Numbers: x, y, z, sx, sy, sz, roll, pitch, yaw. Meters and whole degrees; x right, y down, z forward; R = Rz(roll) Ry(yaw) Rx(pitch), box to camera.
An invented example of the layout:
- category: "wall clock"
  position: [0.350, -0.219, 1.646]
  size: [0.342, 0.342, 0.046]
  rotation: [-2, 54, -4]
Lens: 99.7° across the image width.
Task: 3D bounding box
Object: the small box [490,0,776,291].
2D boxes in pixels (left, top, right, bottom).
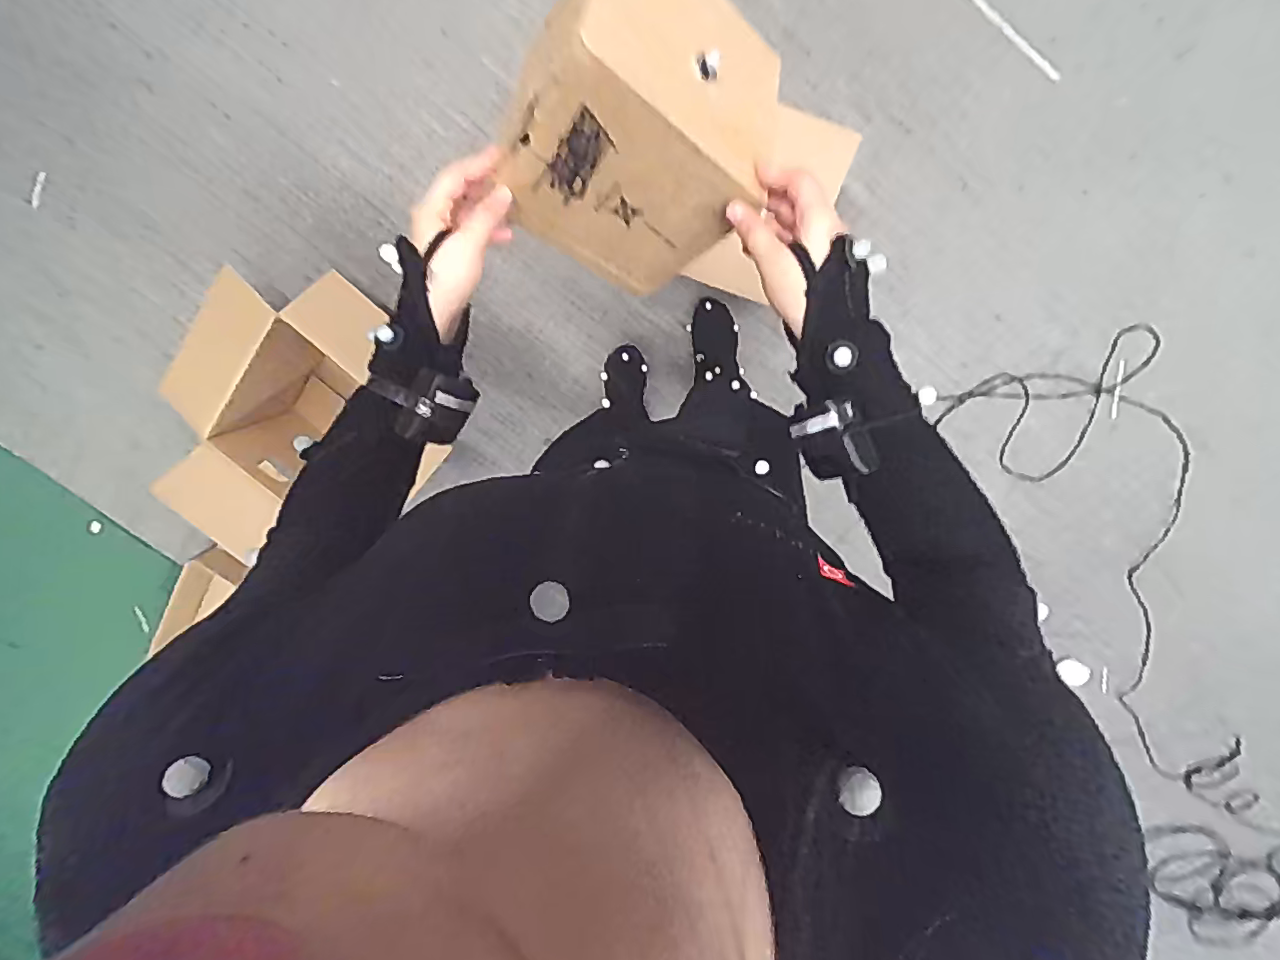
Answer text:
- category: "small box"
  position: [-0.002, -0.309, 0.471]
  size: [0.179, 0.176, 0.168]
  rotation: [21, 157, -32]
